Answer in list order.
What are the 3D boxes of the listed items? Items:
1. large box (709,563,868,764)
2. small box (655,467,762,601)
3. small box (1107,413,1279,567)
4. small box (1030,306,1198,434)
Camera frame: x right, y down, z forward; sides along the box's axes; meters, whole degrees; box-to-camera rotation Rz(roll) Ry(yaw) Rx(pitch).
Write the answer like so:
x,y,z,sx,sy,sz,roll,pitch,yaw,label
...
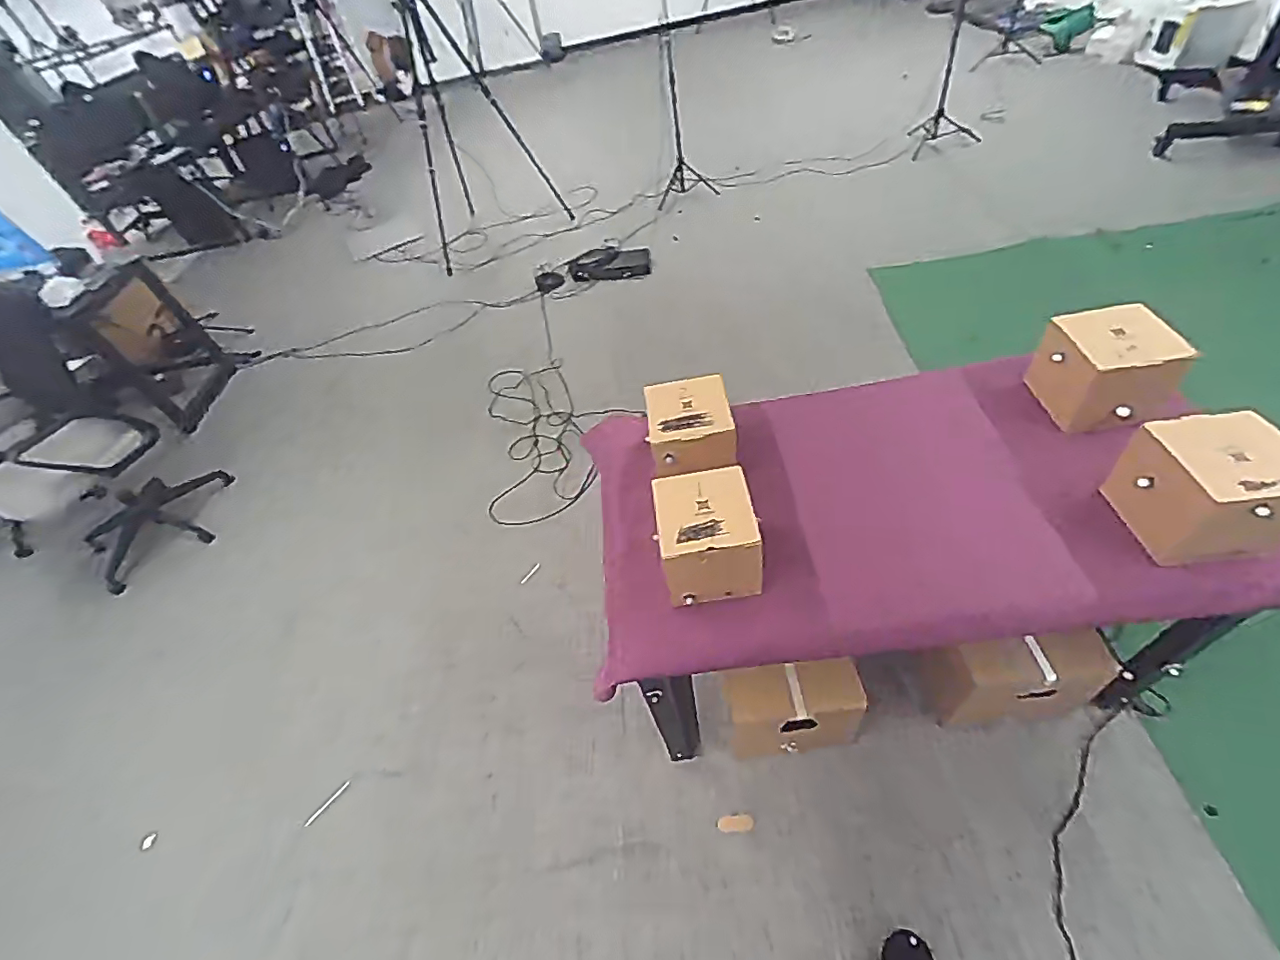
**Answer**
x,y,z,sx,sy,sz,roll,pitch,yaw,label
0.381,0.499,1.477,0.320,0.320,0.408,-10,46,4,large box
0.126,0.105,0.987,0.168,0.176,0.179,-9,46,4,small box
0.923,0.017,0.879,0.168,0.176,0.179,-8,45,8,small box
0.930,-0.219,1.087,0.168,0.176,0.179,-9,49,8,small box
